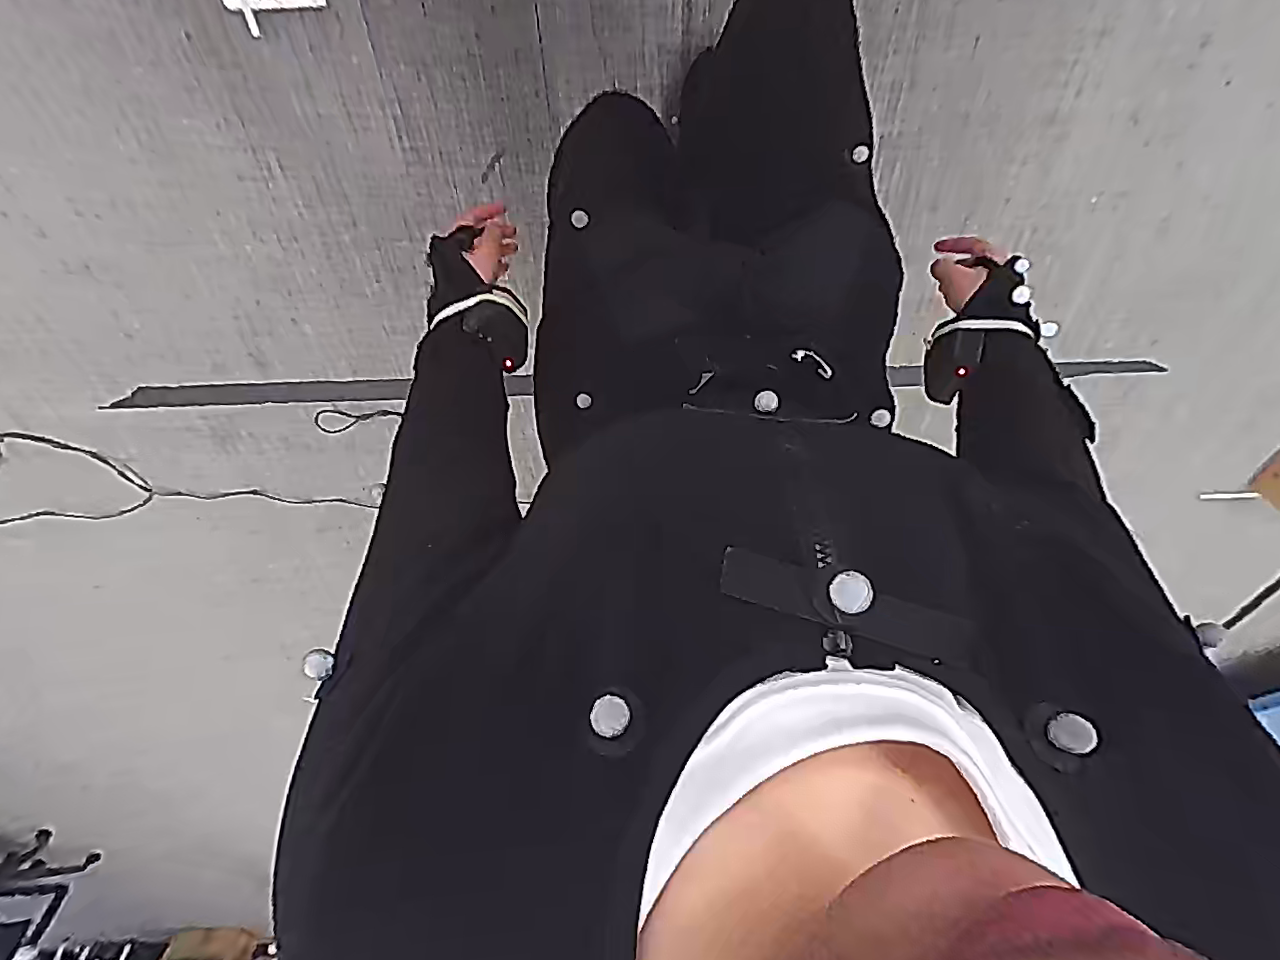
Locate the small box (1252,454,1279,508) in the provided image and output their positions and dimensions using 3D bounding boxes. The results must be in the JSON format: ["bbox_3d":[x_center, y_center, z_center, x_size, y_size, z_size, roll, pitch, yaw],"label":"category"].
[{"bbox_3d":[1.638,0.004,1.265,0.179,0.176,0.168,-2,132,0],"label":"small box"}]
